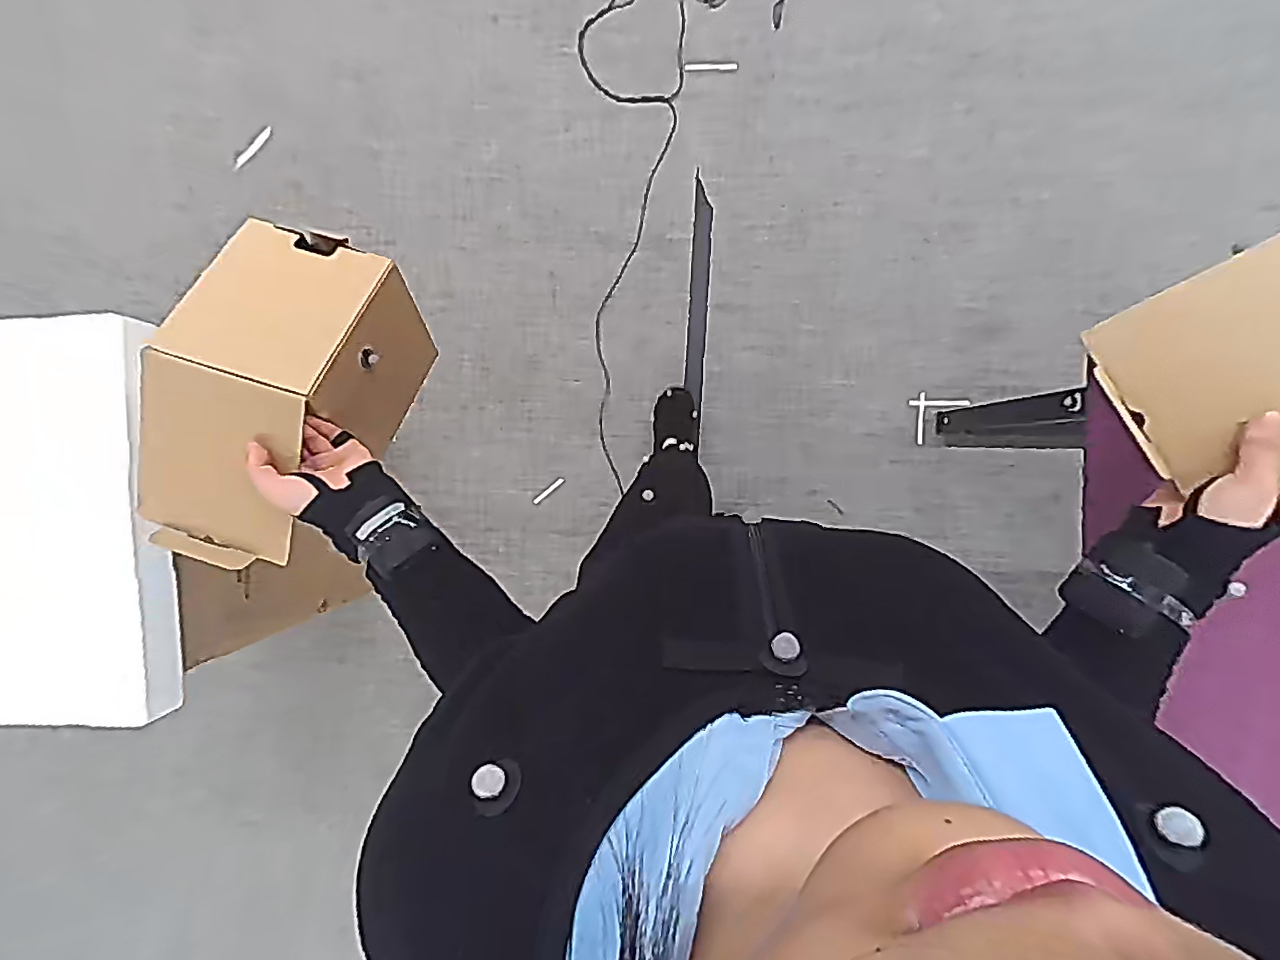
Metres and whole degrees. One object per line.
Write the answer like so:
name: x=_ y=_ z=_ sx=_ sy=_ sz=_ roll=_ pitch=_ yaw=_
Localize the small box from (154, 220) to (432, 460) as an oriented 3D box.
small box: x=-0.358 y=-0.145 z=0.605 sx=0.168 sy=0.176 sz=0.179 roll=17 pitch=66 yaw=3
